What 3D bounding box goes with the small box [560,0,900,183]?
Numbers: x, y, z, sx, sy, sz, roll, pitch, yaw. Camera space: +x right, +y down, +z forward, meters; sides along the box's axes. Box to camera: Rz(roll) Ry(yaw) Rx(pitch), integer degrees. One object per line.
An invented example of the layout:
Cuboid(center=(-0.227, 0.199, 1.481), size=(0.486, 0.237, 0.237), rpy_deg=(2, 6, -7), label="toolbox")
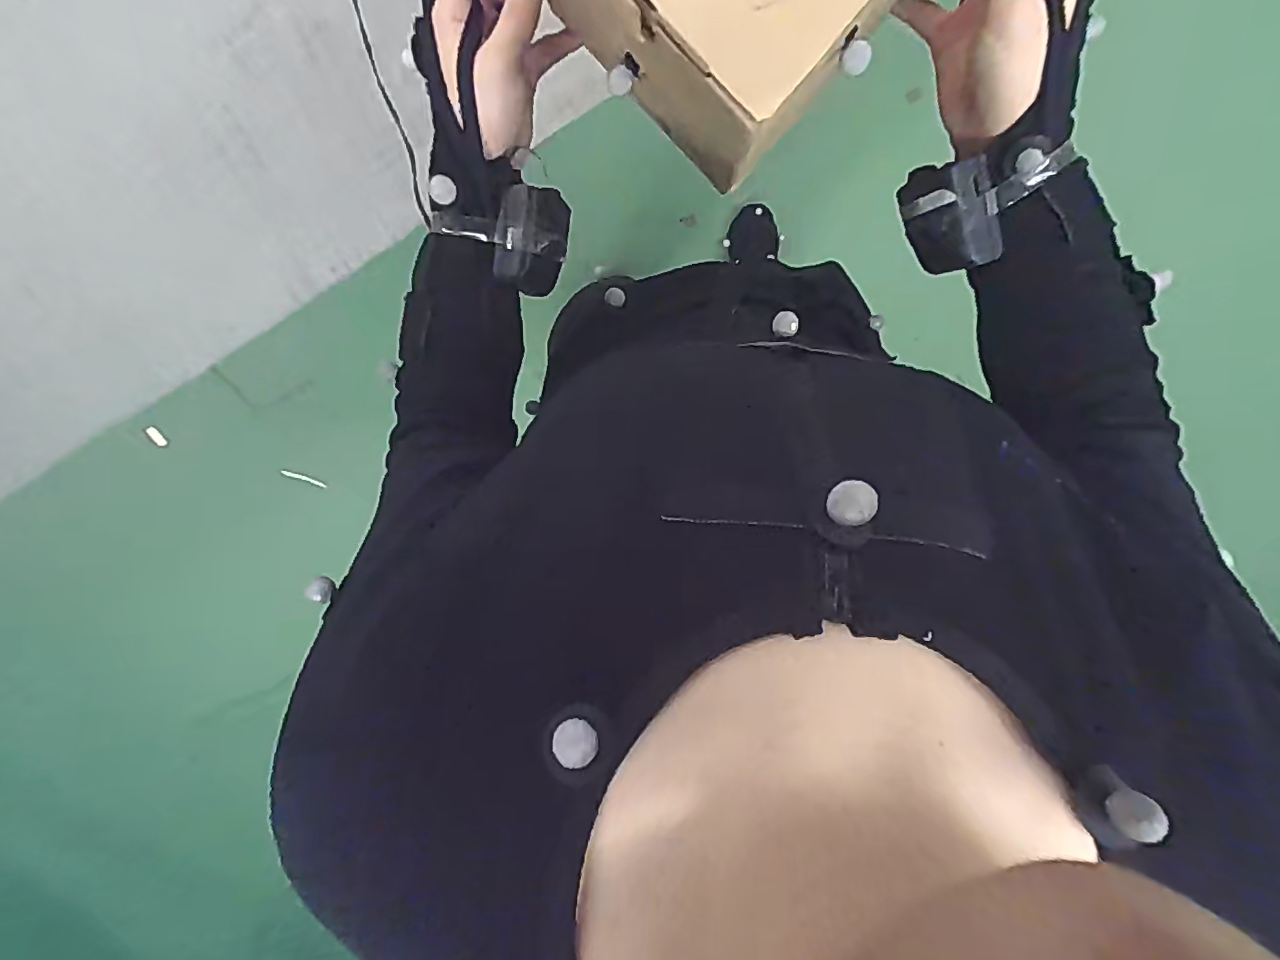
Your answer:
Cuboid(center=(0.054, -0.287, 0.272), size=(0.168, 0.176, 0.179), rpy_deg=(42, 108, -9), label="small box")
